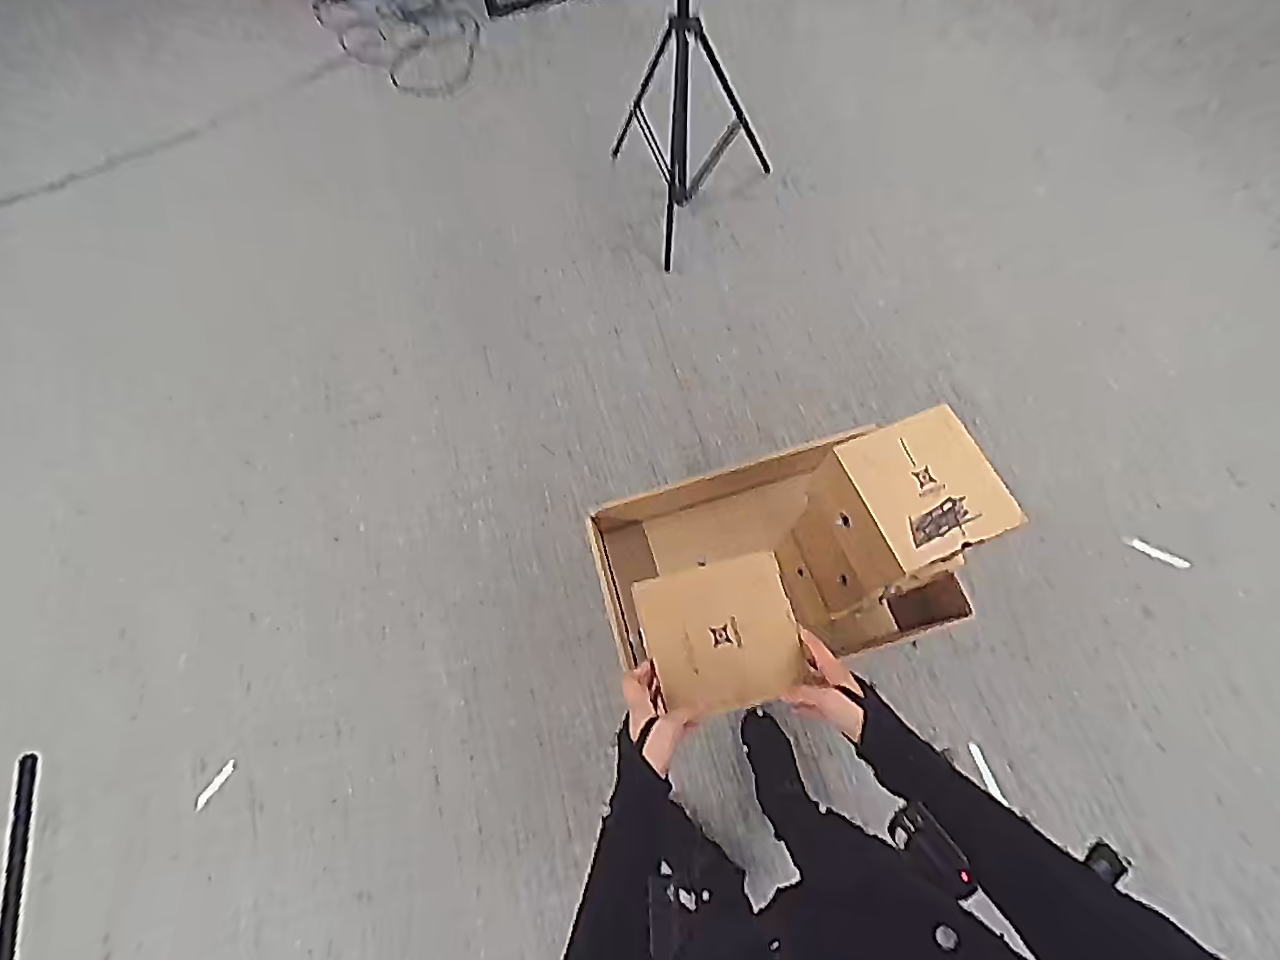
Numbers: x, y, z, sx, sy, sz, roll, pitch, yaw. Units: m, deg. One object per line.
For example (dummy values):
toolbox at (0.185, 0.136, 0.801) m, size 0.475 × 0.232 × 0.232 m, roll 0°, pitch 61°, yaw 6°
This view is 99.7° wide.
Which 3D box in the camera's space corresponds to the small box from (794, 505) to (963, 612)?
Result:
small box at (0.371, 0.100, 0.883) m, size 0.168 × 0.176 × 0.179 m, roll -19°, pitch 70°, yaw -3°

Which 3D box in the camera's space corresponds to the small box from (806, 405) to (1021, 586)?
small box at (0.350, 0.033, 0.734) m, size 0.168 × 0.176 × 0.179 m, roll -21°, pitch 69°, yaw -4°

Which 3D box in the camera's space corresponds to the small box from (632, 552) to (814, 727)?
small box at (0.093, 0.197, 0.700) m, size 0.179 × 0.176 × 0.168 m, roll -13°, pitch 77°, yaw -6°
